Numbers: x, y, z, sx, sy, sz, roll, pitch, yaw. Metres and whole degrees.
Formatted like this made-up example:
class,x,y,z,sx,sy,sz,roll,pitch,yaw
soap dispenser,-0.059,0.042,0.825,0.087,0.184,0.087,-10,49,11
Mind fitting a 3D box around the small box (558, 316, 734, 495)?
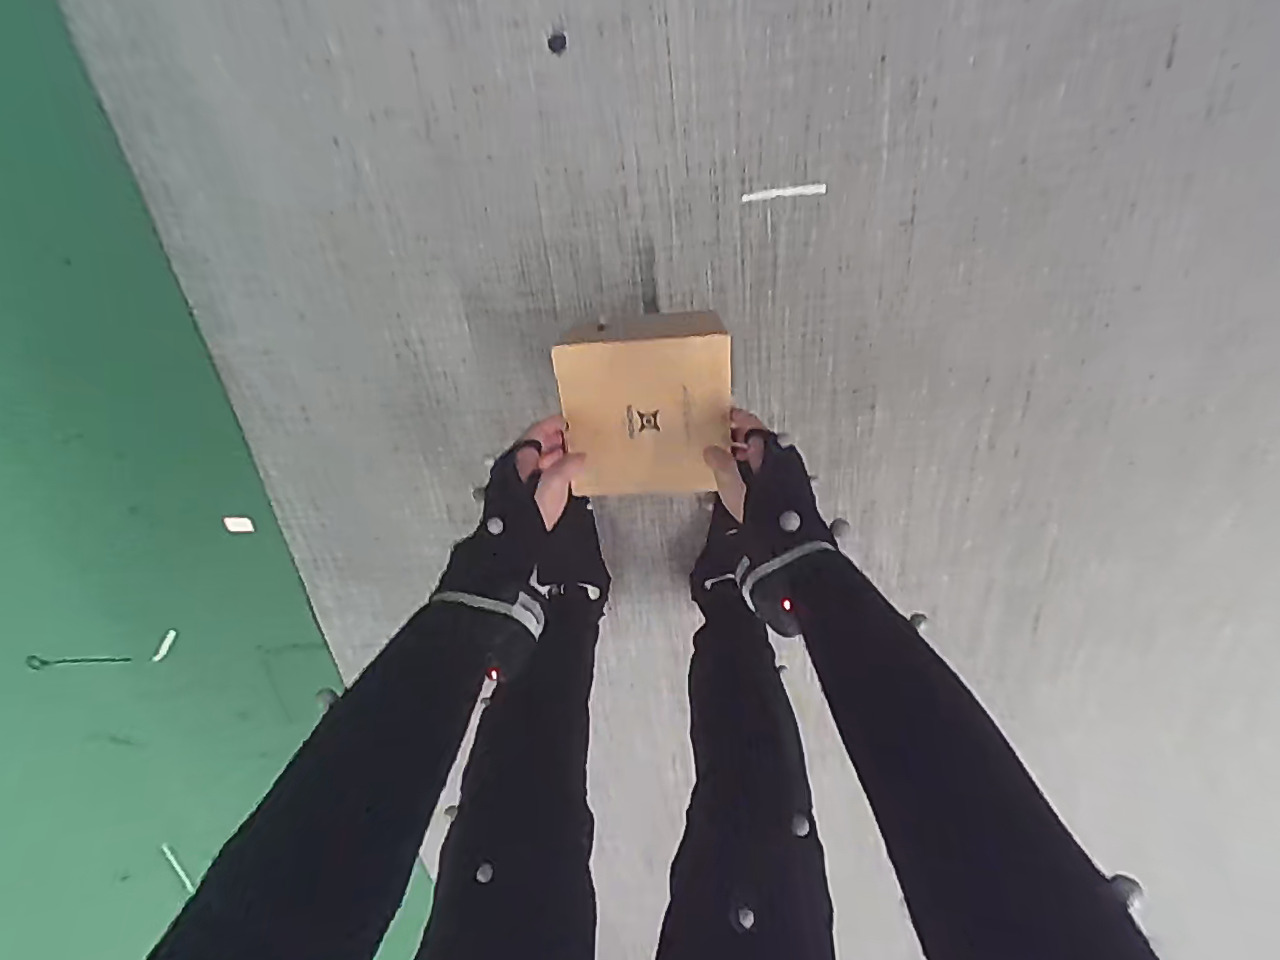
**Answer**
class,x,y,z,sx,sy,sz,roll,pitch,yaw
small box,0.014,-0.093,0.630,0.179,0.176,0.168,-2,116,5
